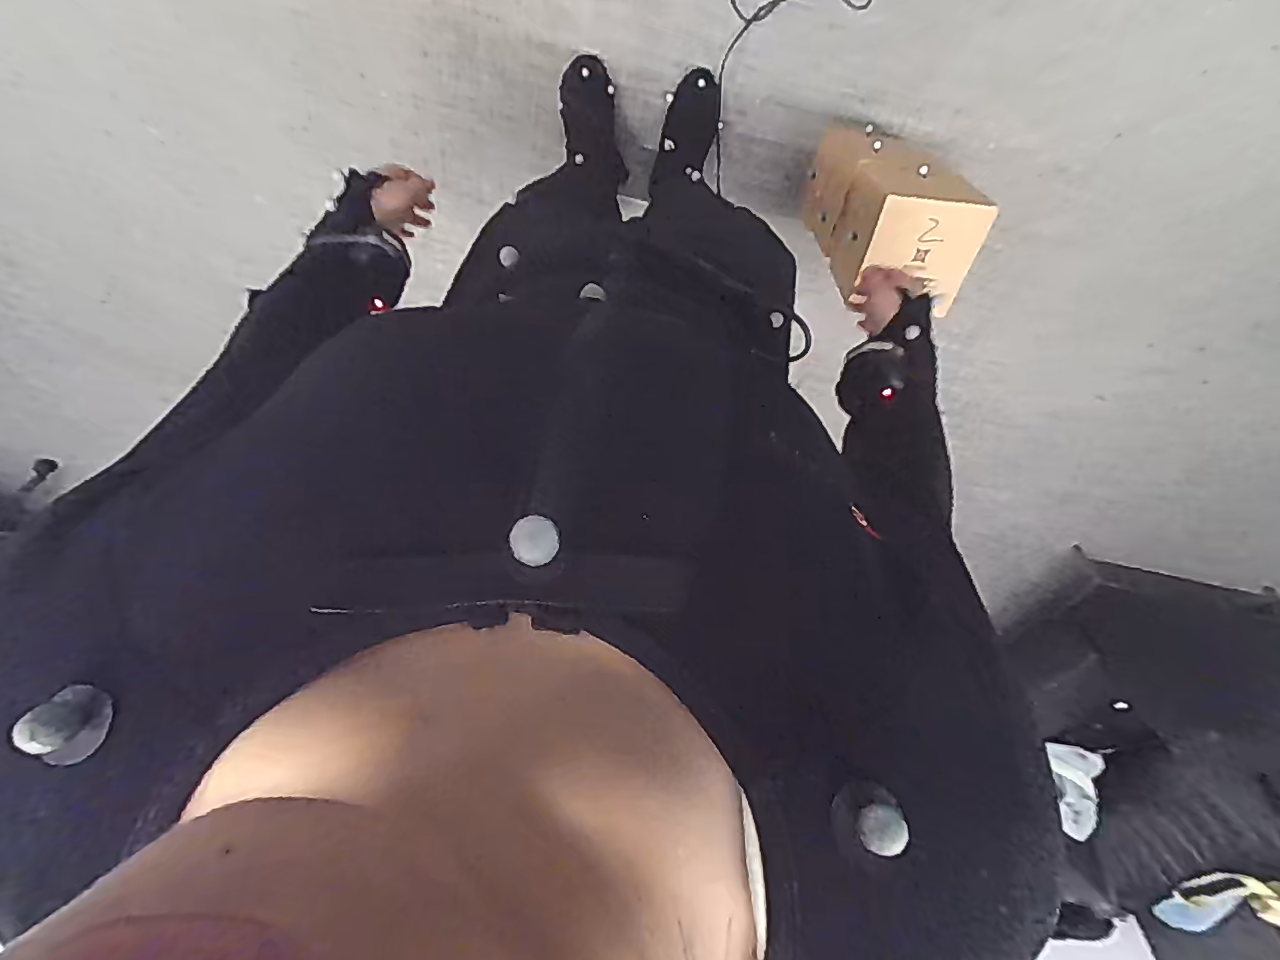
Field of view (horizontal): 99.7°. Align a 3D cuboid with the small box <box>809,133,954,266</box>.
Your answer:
[{"bbox_3d":[0.433,-0.526,1.008,0.179,0.176,0.168,7,136,-4],"label":"small box"}]

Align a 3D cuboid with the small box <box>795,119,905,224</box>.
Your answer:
[{"bbox_3d":[0.442,-0.632,1.131,0.179,0.176,0.168,10,135,-5],"label":"small box"}]
